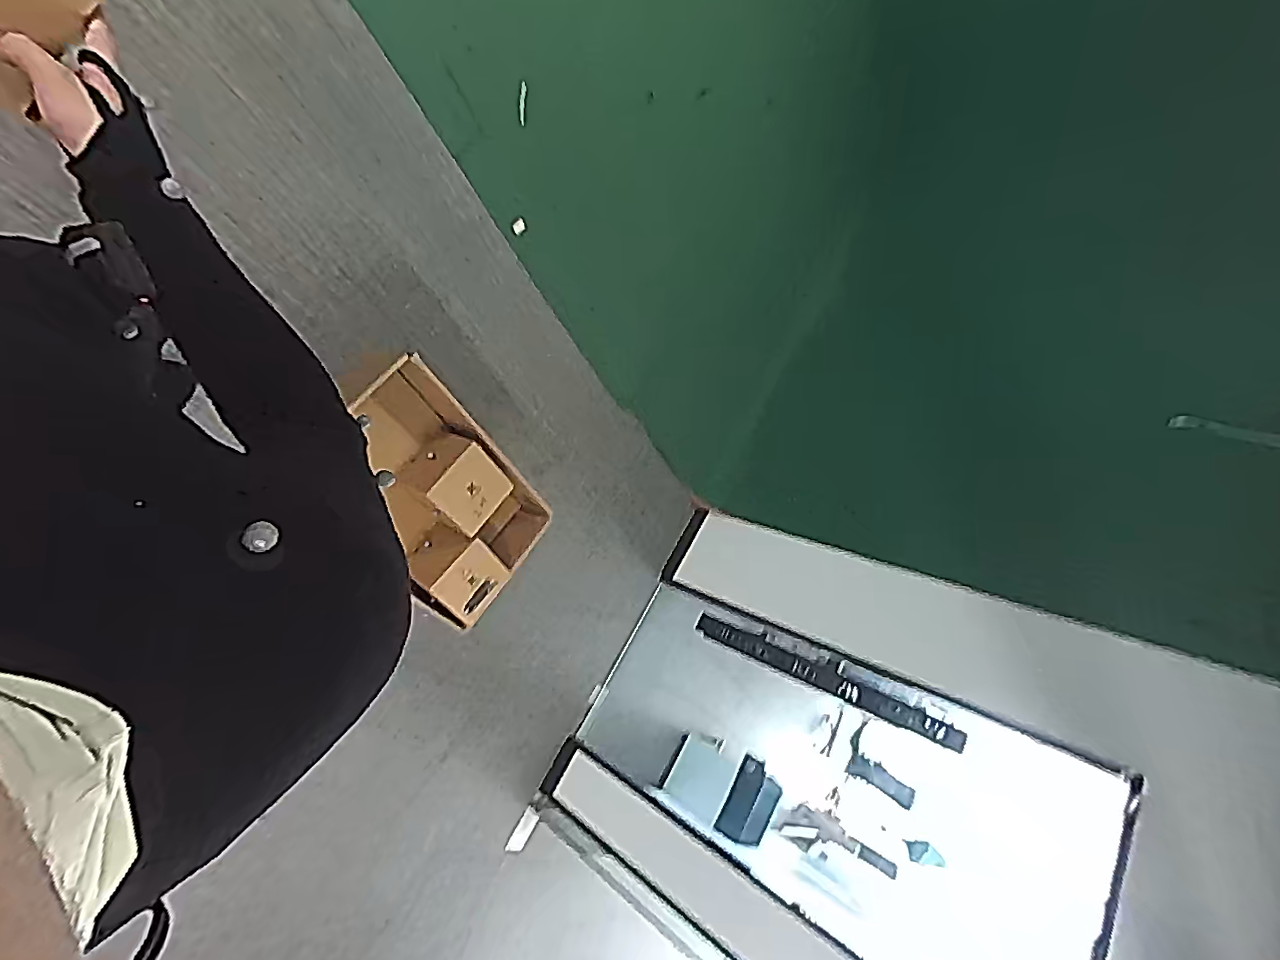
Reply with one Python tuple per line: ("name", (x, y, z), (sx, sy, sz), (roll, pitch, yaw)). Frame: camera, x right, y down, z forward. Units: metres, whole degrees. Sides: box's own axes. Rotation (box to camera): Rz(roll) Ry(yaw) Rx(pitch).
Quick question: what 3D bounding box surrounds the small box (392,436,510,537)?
("small box", (-0.463, 0.009, 1.320), (0.168, 0.176, 0.179), (-53, 138, -22))
